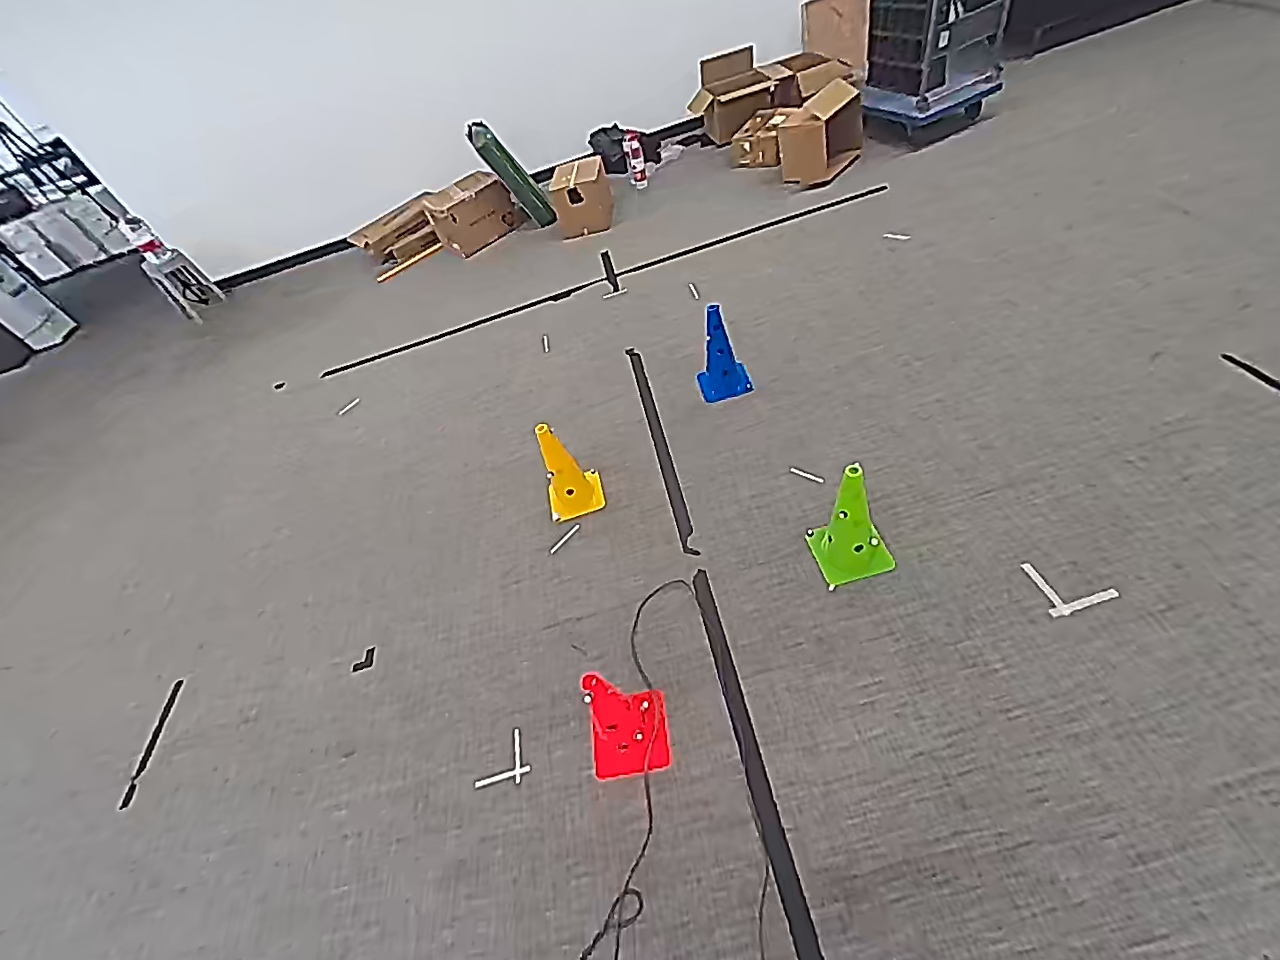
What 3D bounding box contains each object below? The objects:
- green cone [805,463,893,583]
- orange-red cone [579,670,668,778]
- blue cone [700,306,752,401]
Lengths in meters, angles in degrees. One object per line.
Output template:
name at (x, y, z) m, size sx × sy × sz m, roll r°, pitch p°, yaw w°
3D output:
green cone at (0.576, 0.092, 1.477) m, size 0.202 × 0.368 × 0.200 m, roll -16°, pitch 46°, yaw 2°
orange-red cone at (-0.073, 0.546, 1.288) m, size 0.199 × 0.360 × 0.198 m, roll -14°, pitch 45°, yaw 7°
blue cone at (0.315, -0.508, 2.123) m, size 0.192 × 0.380 × 0.193 m, roll -13°, pitch 47°, yaw 5°
